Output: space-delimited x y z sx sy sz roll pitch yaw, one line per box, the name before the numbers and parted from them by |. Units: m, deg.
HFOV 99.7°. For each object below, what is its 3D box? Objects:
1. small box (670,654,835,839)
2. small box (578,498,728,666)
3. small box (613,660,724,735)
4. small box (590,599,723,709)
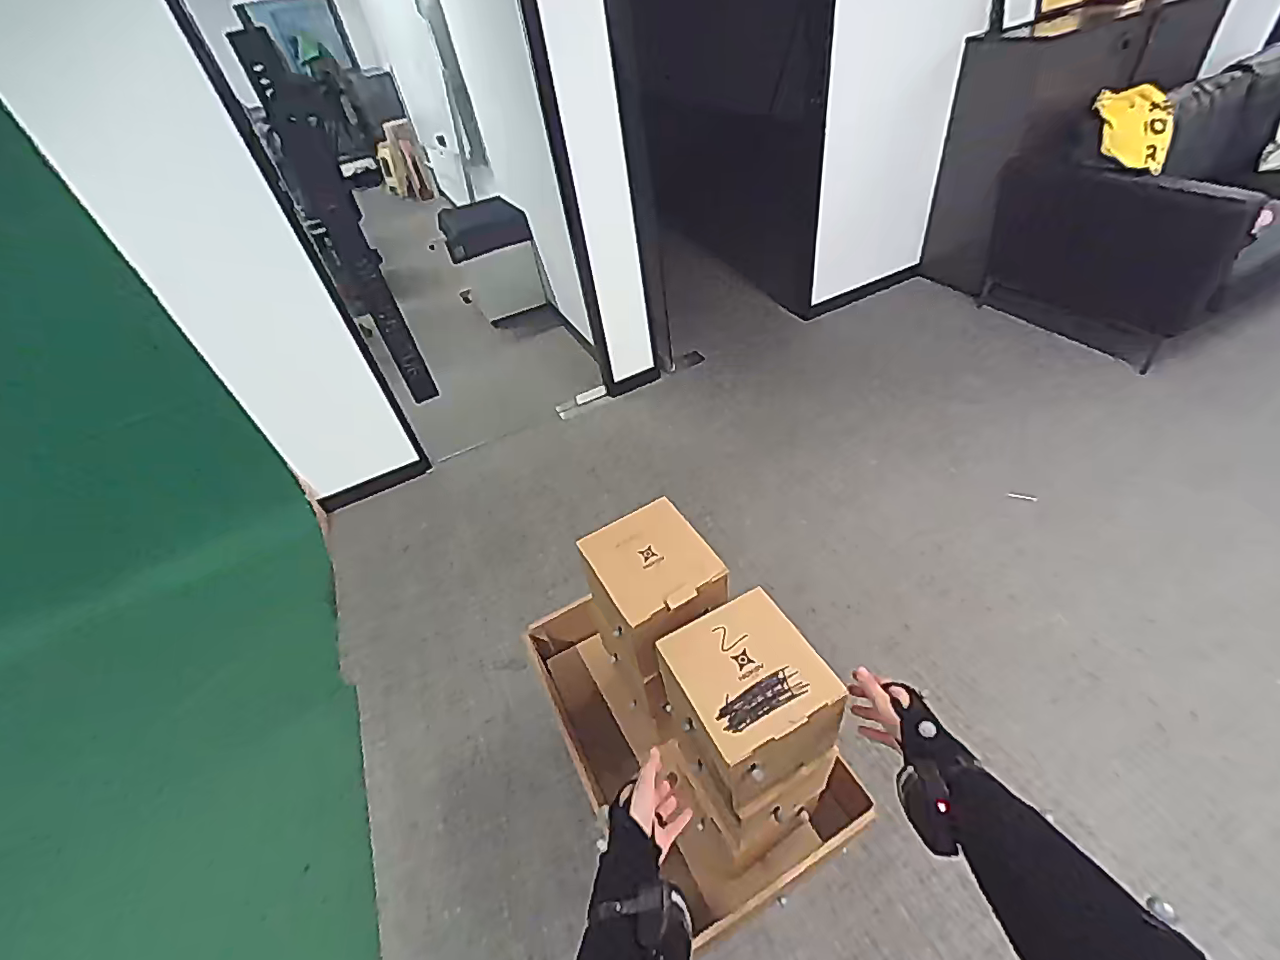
small box | 0.165 0.407 0.817 0.168 0.176 0.179 -25 45 -16
small box | 0.024 0.167 0.856 0.168 0.176 0.179 -26 48 -17
small box | 0.055 0.387 1.095 0.168 0.176 0.179 -27 50 -18
small box | 0.034 0.282 0.971 0.168 0.176 0.179 -28 49 -18
